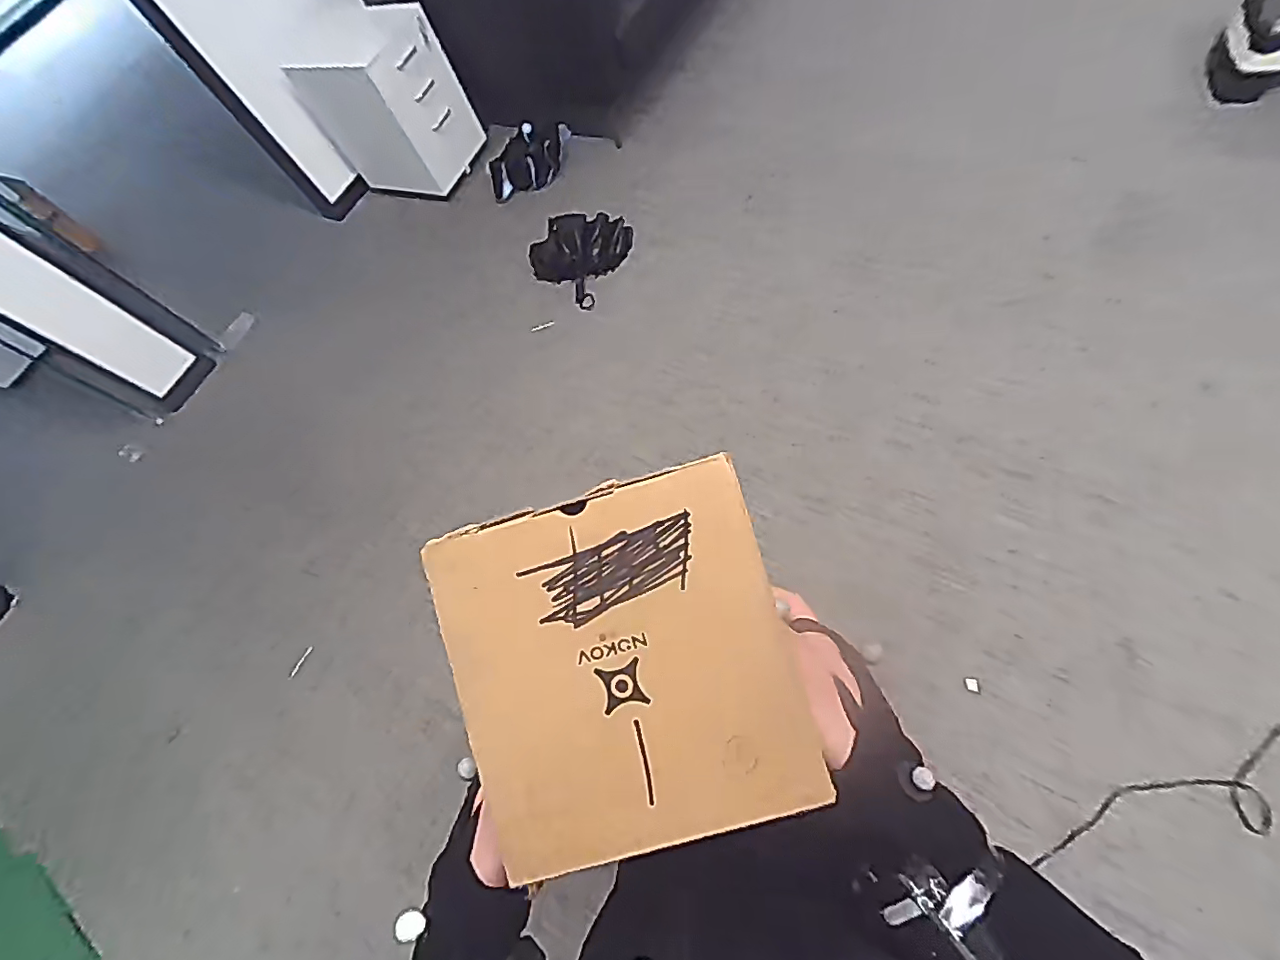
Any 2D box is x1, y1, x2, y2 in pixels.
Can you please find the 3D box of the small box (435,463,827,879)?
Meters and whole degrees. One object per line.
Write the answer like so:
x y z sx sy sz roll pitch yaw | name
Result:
-0.004 0.101 0.352 0.168 0.176 0.179 -16 85 3 | small box
